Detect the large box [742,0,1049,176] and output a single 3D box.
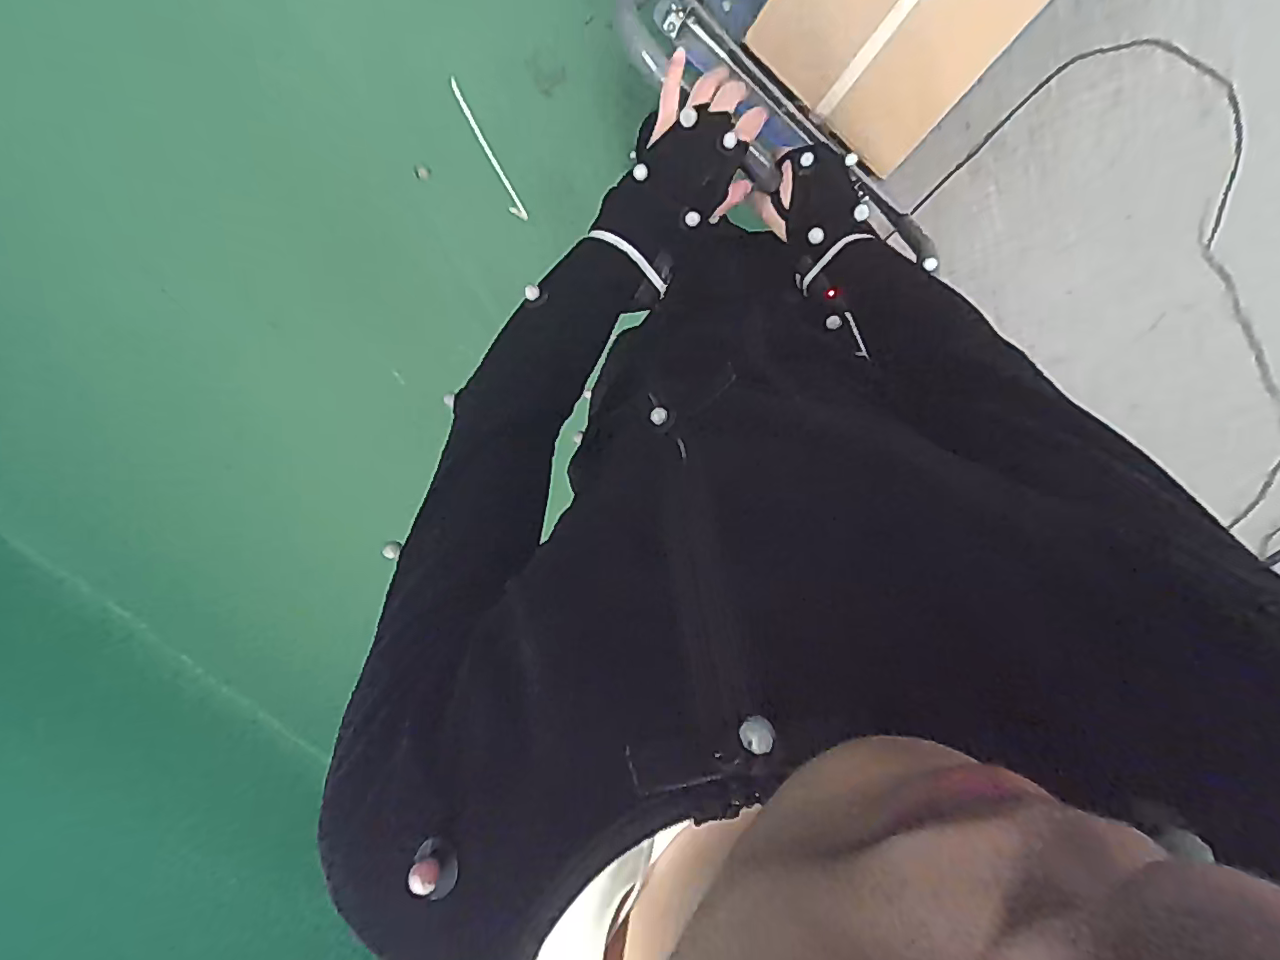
[{"bbox_3d":[0.410,-0.776,0.855,0.320,0.320,0.408,33,123,-16],"label":"large box"}]
